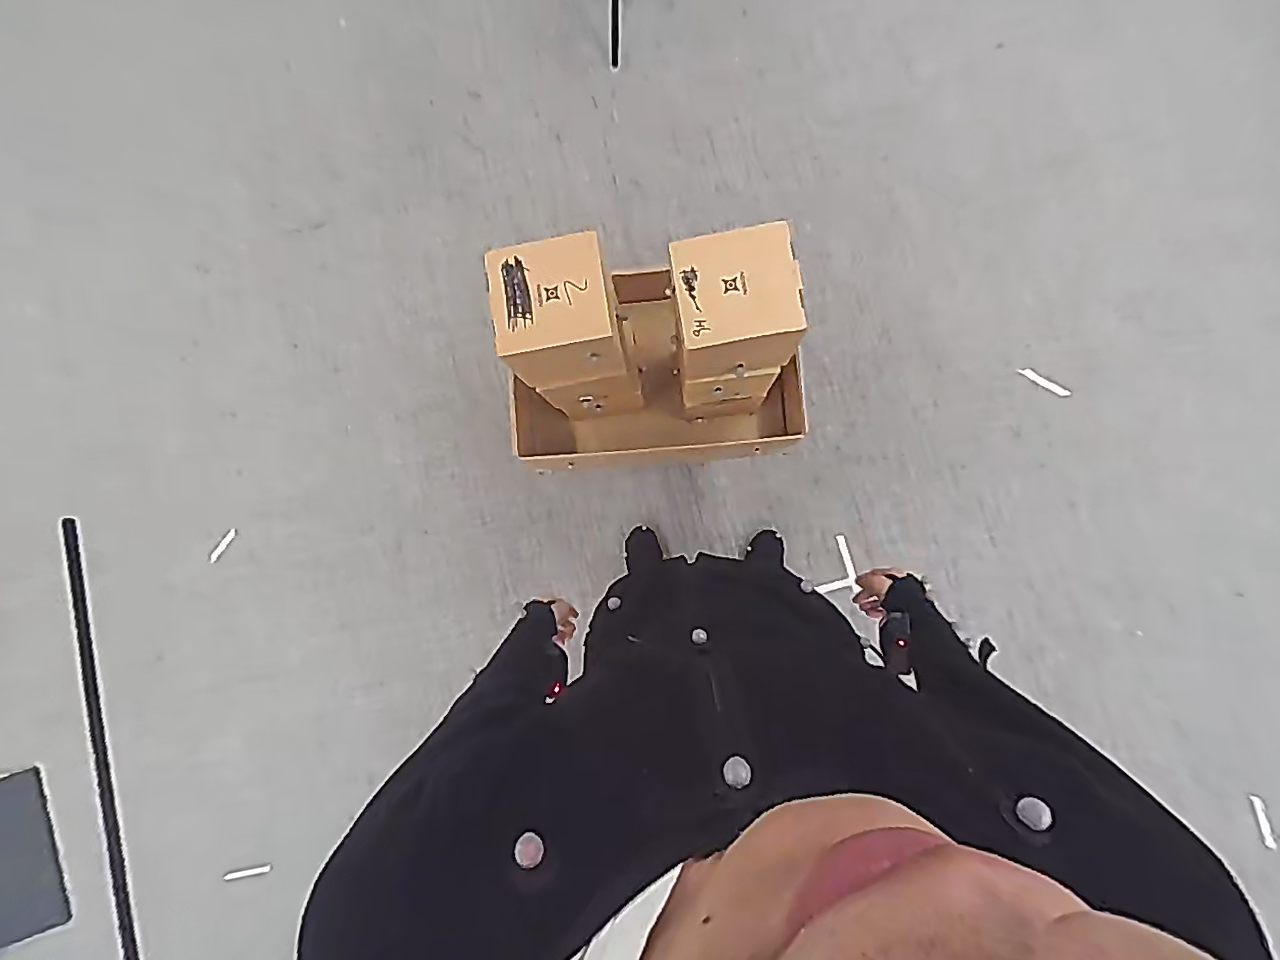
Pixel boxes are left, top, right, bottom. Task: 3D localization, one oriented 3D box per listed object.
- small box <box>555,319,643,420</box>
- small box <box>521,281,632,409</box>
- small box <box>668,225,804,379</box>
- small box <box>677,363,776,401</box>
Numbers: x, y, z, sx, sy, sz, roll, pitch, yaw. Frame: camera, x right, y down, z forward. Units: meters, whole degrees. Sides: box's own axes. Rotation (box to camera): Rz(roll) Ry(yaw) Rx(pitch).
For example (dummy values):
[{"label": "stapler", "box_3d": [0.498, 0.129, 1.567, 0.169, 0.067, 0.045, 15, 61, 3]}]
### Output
[{"label": "small box", "box_3d": [-0.092, -0.236, 1.195, 0.179, 0.176, 0.168, -8, 85, 3]}, {"label": "small box", "box_3d": [-0.115, -0.249, 1.032, 0.168, 0.176, 0.179, -10, 84, 5]}, {"label": "small box", "box_3d": [0.140, -0.269, 0.853, 0.179, 0.176, 0.168, -8, 84, 3]}, {"label": "small box", "box_3d": [0.152, -0.253, 1.016, 0.168, 0.176, 0.179, -7, 84, 4]}]
